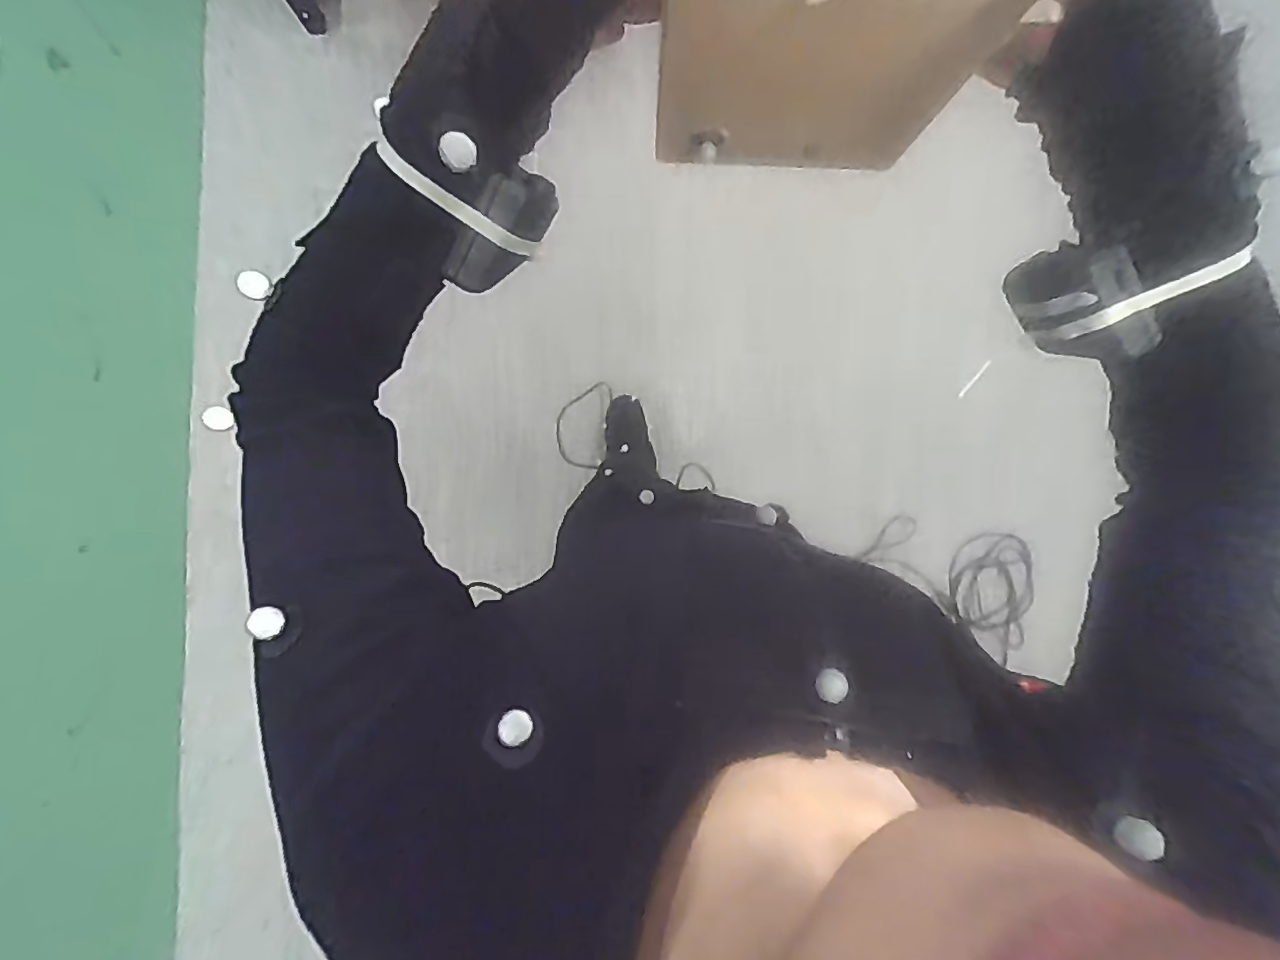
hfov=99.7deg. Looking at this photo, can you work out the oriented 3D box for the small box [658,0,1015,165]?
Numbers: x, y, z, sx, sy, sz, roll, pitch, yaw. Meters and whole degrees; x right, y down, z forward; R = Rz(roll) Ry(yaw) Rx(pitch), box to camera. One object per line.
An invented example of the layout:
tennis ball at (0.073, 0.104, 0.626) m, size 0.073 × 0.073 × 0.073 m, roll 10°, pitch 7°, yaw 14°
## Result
small box at (0.097, -0.299, 0.291) m, size 0.168 × 0.176 × 0.179 m, roll 1°, pitch 91°, yaw -1°
